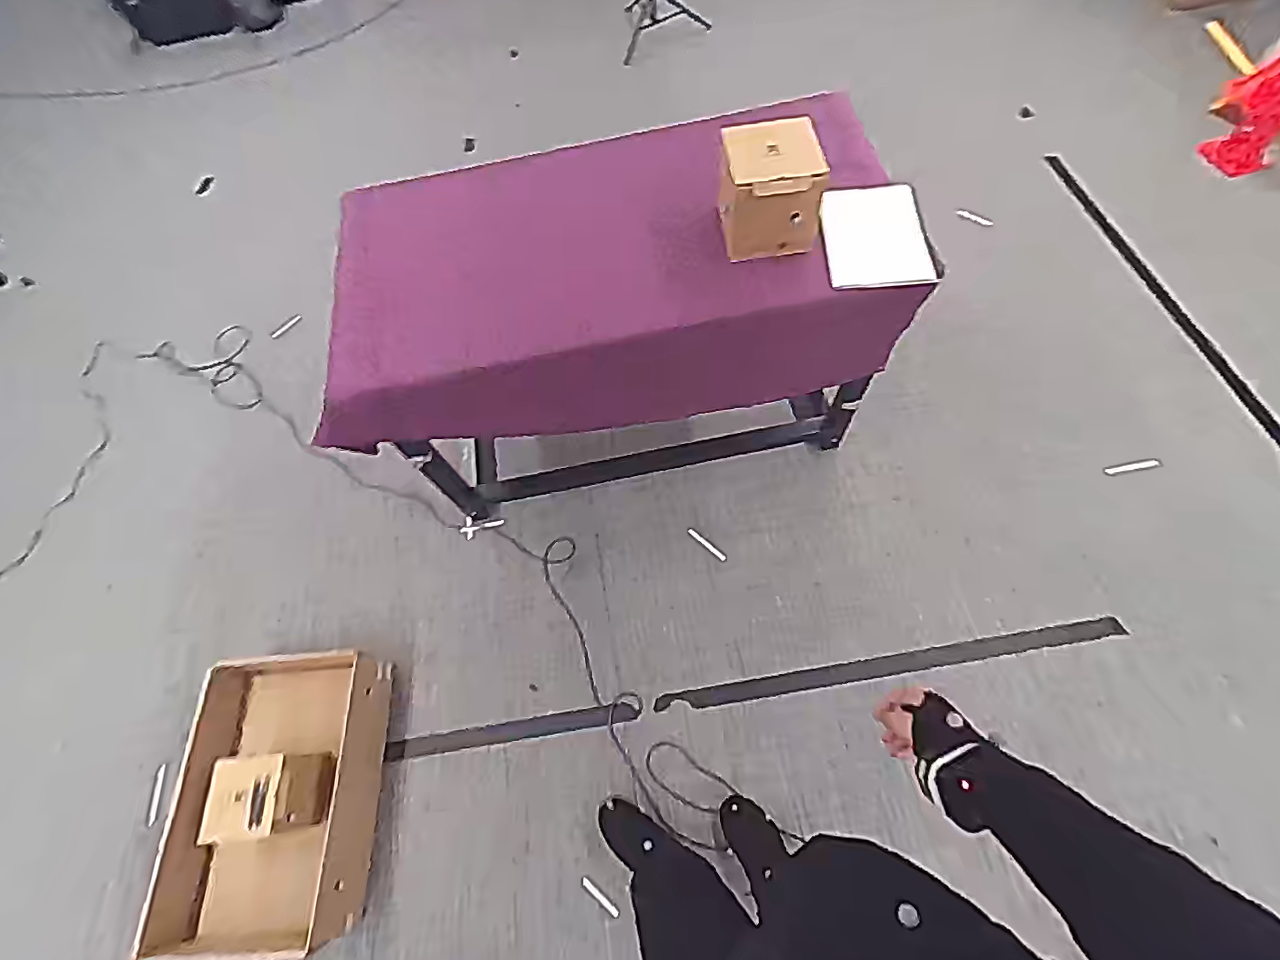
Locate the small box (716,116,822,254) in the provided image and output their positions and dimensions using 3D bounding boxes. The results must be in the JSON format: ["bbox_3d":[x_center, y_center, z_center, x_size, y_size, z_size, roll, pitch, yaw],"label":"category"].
[{"bbox_3d":[0.241,-0.563,1.053,0.168,0.176,0.179,-6,64,2],"label":"small box"}]
